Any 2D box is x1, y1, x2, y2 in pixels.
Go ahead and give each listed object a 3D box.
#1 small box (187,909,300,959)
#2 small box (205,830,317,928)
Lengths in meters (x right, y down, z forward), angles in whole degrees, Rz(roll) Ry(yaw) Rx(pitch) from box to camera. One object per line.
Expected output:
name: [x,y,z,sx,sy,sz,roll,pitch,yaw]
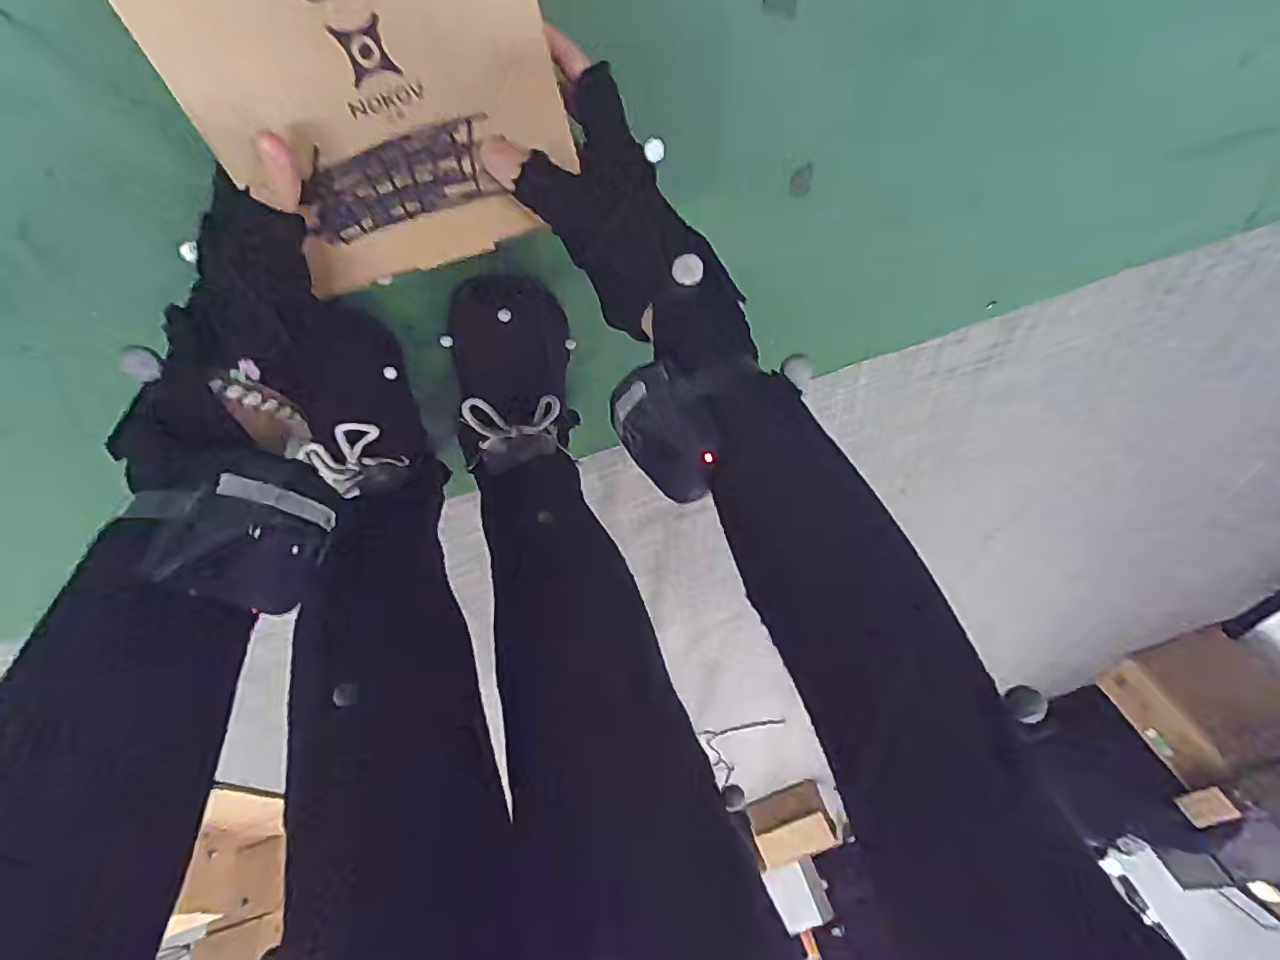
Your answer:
small box: [-0.958,1.162,1.302,0.179,0.176,0.168,-20,140,0]
small box: [-0.974,1.036,1.409,0.179,0.176,0.168,-21,141,2]
